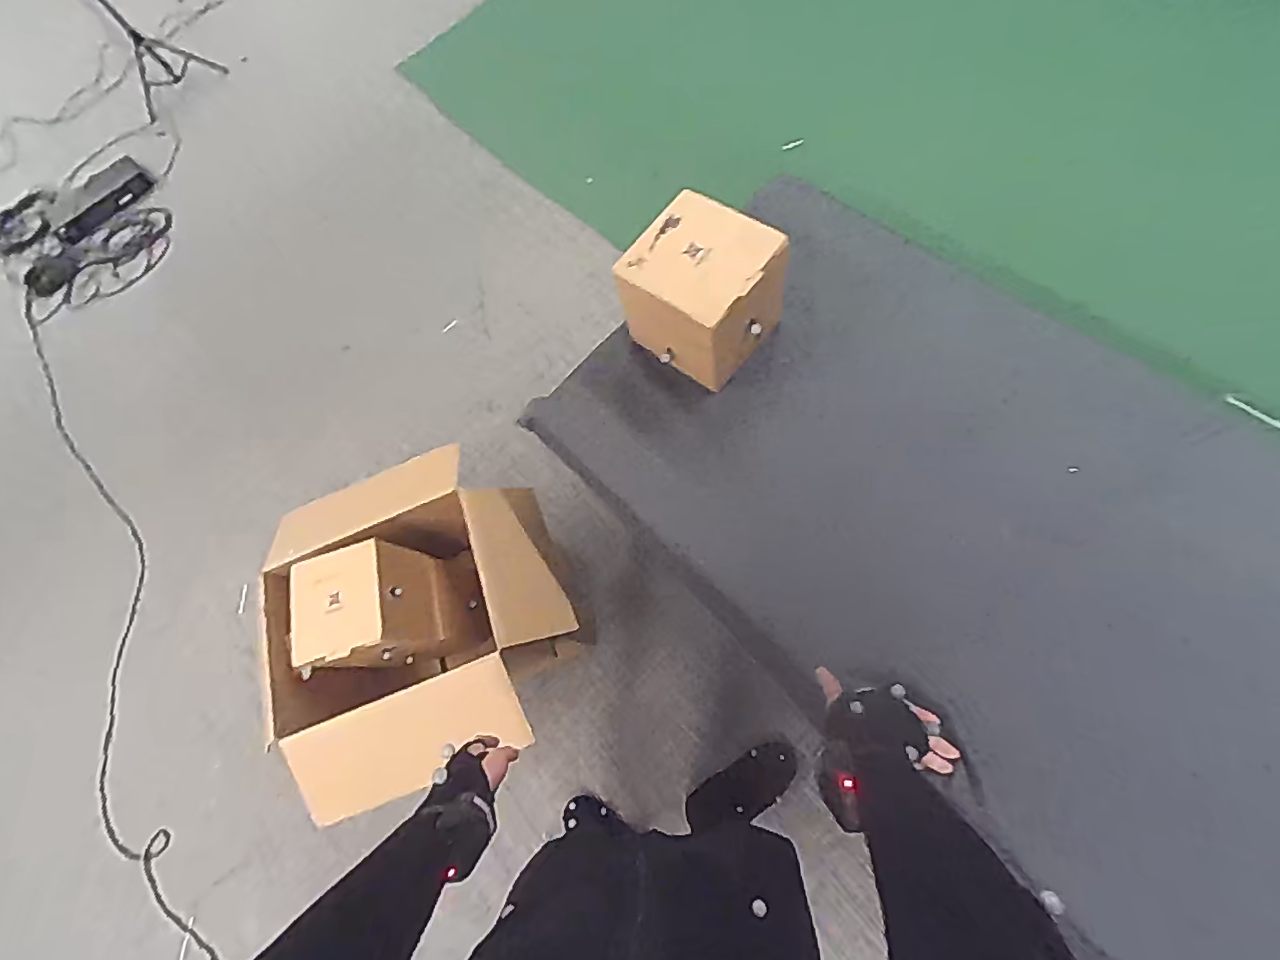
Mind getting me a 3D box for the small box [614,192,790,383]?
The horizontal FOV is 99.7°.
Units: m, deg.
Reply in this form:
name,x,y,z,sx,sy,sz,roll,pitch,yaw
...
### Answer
name,x,y,z,sx,sy,sz,roll,pitch,yaw
small box,0.093,-0.267,0.788,0.179,0.176,0.168,37,80,20
